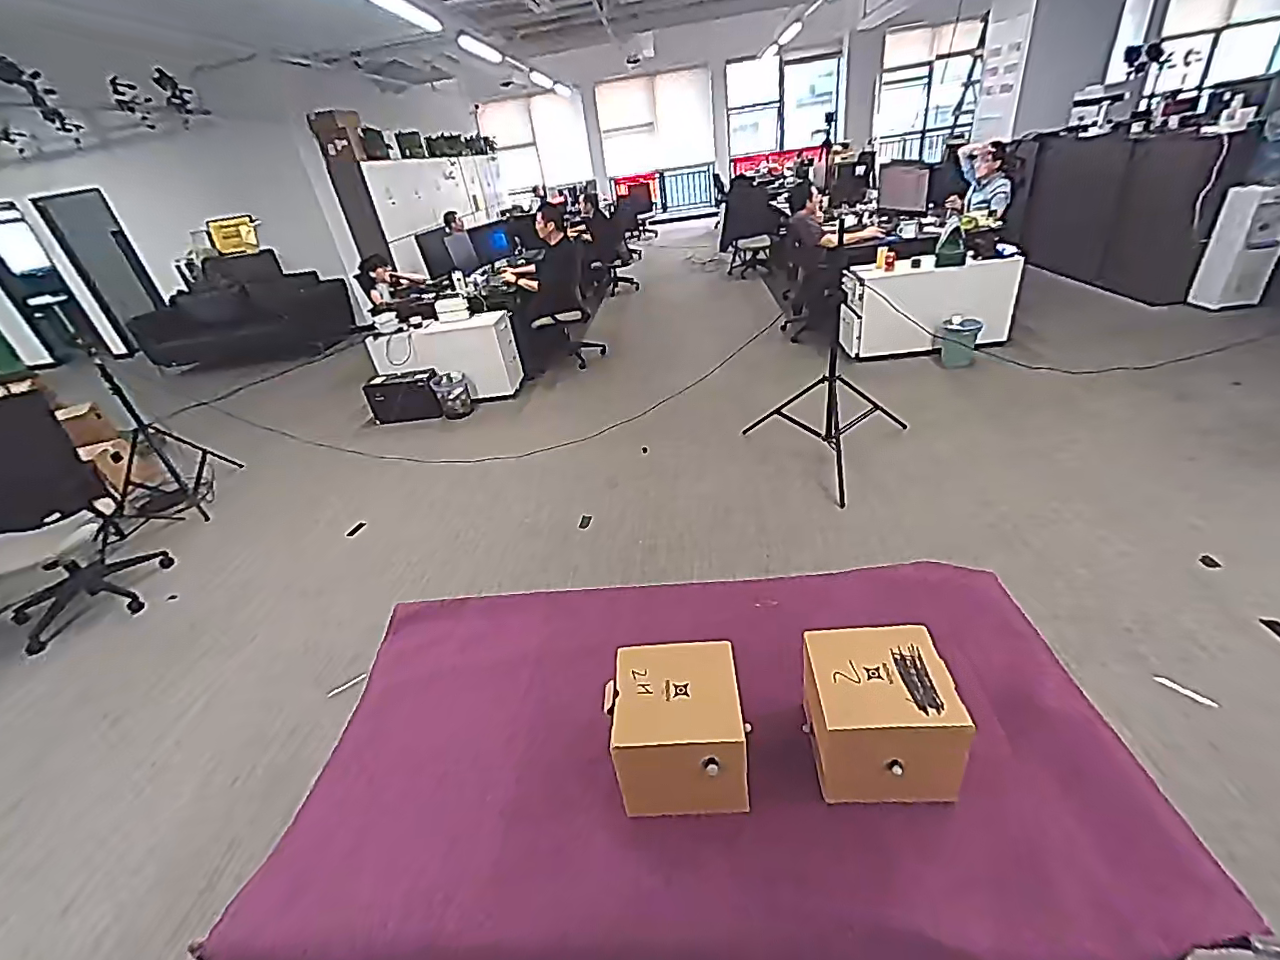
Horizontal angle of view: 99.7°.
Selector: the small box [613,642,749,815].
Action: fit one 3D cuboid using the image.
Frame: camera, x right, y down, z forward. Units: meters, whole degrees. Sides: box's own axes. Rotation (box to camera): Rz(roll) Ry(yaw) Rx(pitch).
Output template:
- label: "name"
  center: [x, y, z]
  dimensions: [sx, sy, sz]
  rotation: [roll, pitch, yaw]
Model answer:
- label: "small box"
  center: [0.063, 0.363, 0.794]
  dimensions: [0.179, 0.176, 0.168]
  rotation: [-6, 30, 5]
